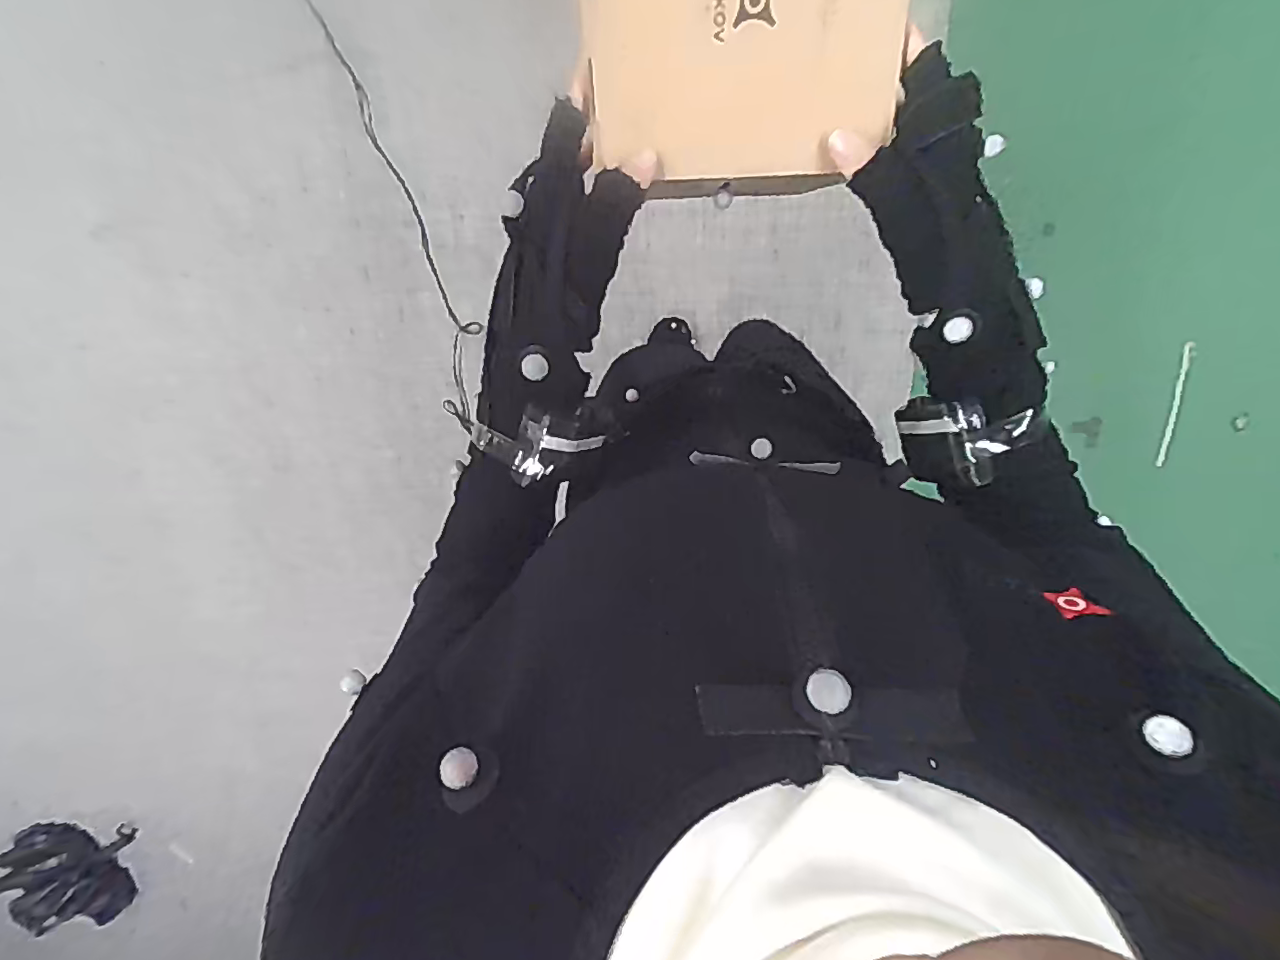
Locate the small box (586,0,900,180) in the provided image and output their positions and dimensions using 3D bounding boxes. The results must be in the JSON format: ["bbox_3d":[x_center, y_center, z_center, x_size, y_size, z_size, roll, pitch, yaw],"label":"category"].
[{"bbox_3d":[0.054,-0.306,0.364,0.179,0.176,0.168,-4,115,-2],"label":"small box"}]
